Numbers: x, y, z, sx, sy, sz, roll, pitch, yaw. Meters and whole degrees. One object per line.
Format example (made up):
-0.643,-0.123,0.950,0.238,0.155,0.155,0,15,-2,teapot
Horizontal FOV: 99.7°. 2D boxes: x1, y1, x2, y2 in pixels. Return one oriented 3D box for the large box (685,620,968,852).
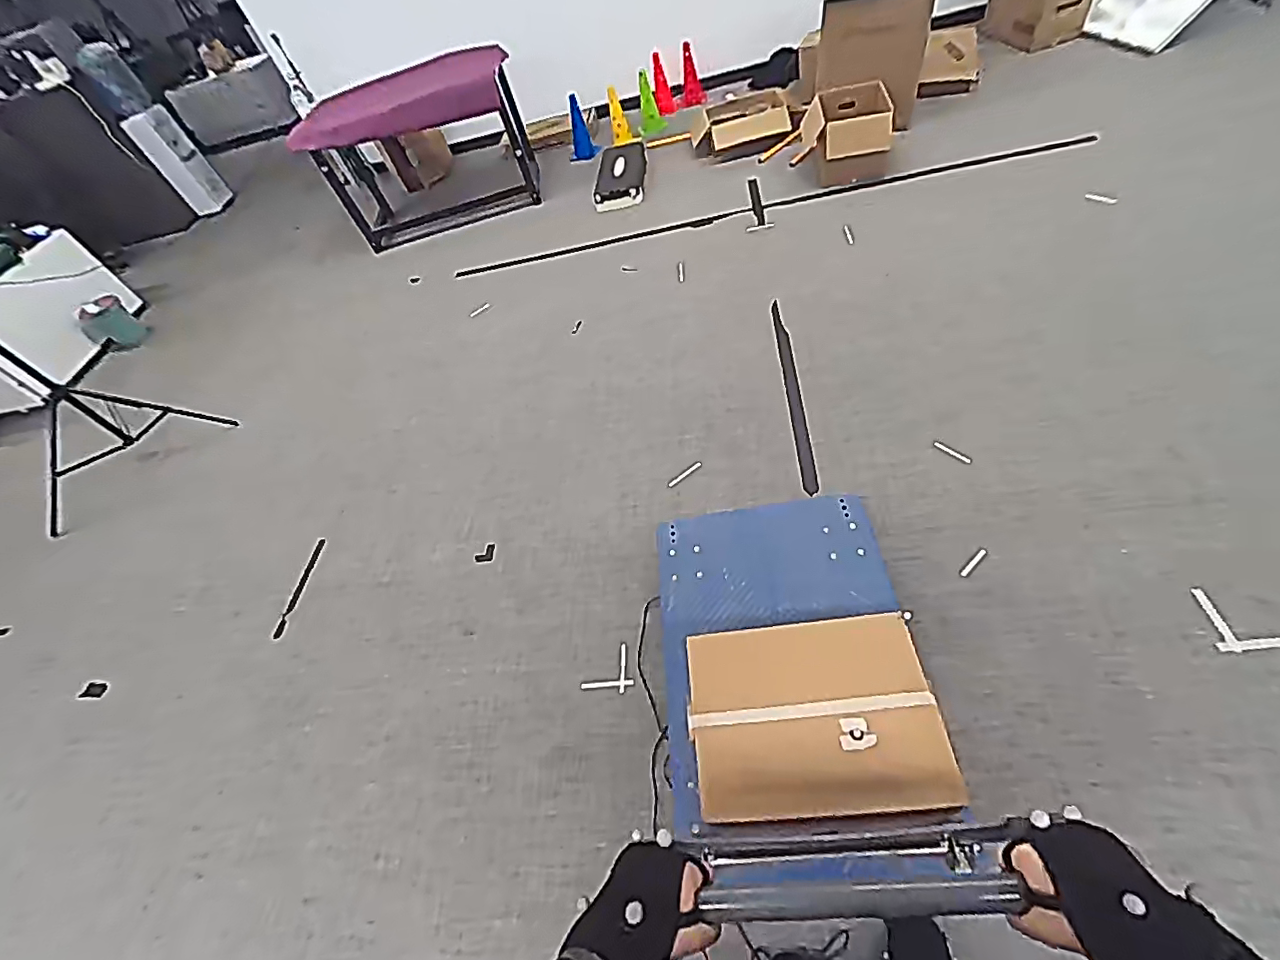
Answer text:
0.317,0.498,1.030,0.408,0.320,0.320,-9,52,8,large box
